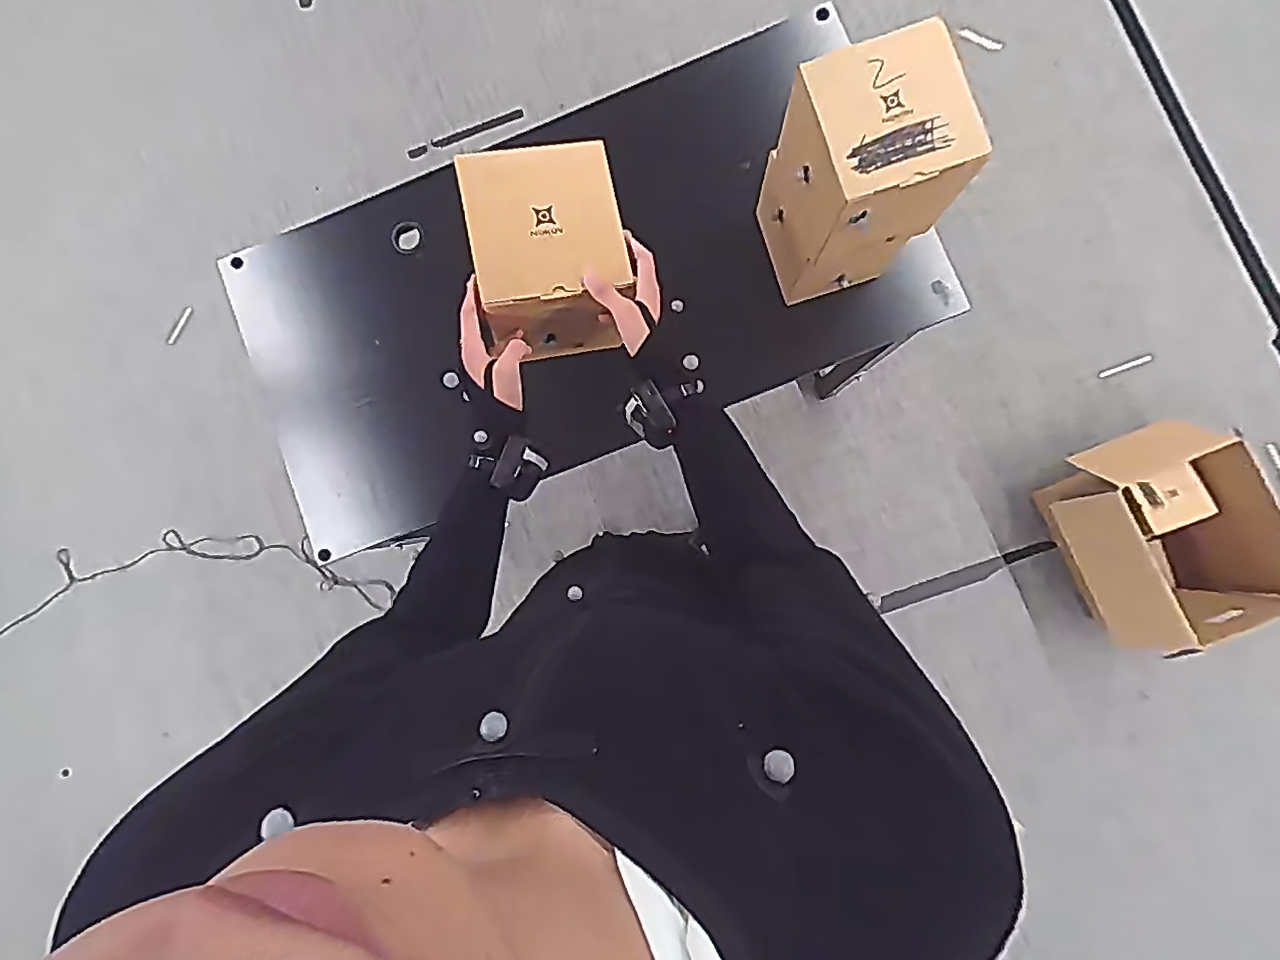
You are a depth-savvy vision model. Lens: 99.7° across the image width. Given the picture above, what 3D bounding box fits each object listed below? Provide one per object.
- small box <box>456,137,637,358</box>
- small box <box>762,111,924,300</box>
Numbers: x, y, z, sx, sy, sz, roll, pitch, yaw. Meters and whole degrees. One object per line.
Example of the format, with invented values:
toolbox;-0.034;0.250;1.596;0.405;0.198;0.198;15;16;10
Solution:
small box;-0.110;-0.267;0.649;0.168;0.176;0.179;-12;84;-9
small box;0.297;-0.409;0.834;0.168;0.176;0.179;-16;86;4
